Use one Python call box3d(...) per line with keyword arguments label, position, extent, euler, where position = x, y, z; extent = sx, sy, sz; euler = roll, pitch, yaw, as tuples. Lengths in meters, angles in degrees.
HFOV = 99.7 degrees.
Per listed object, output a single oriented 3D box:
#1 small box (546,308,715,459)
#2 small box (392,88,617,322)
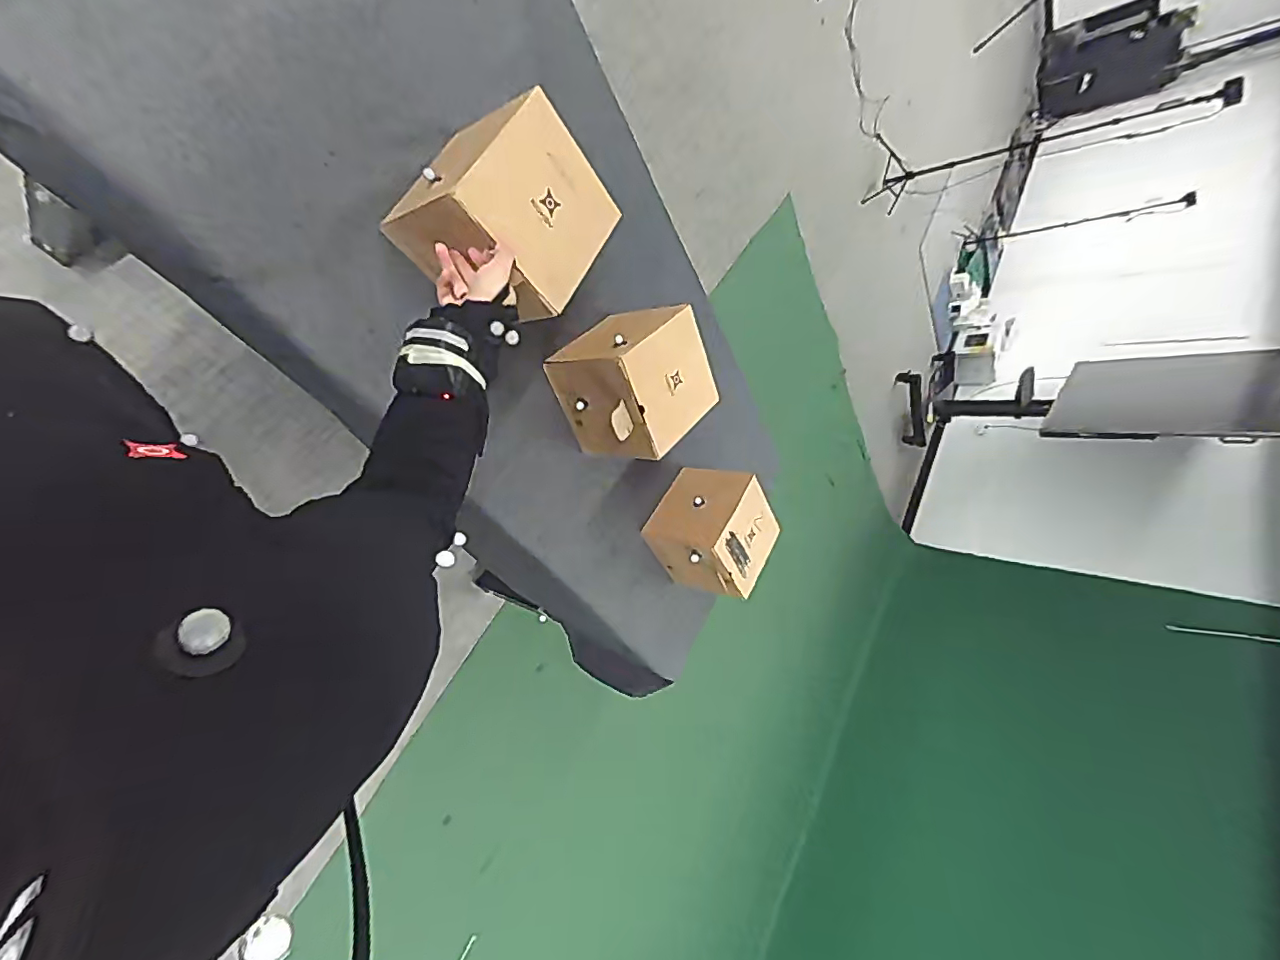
box3d(label="small box", position=(-0.013, -0.155, 0.846), extent=(0.179, 0.176, 0.168), euler=(-44, 127, -33))
box3d(label="small box", position=(-0.165, -0.311, 0.650), extent=(0.168, 0.176, 0.179), euler=(45, 62, -44))
